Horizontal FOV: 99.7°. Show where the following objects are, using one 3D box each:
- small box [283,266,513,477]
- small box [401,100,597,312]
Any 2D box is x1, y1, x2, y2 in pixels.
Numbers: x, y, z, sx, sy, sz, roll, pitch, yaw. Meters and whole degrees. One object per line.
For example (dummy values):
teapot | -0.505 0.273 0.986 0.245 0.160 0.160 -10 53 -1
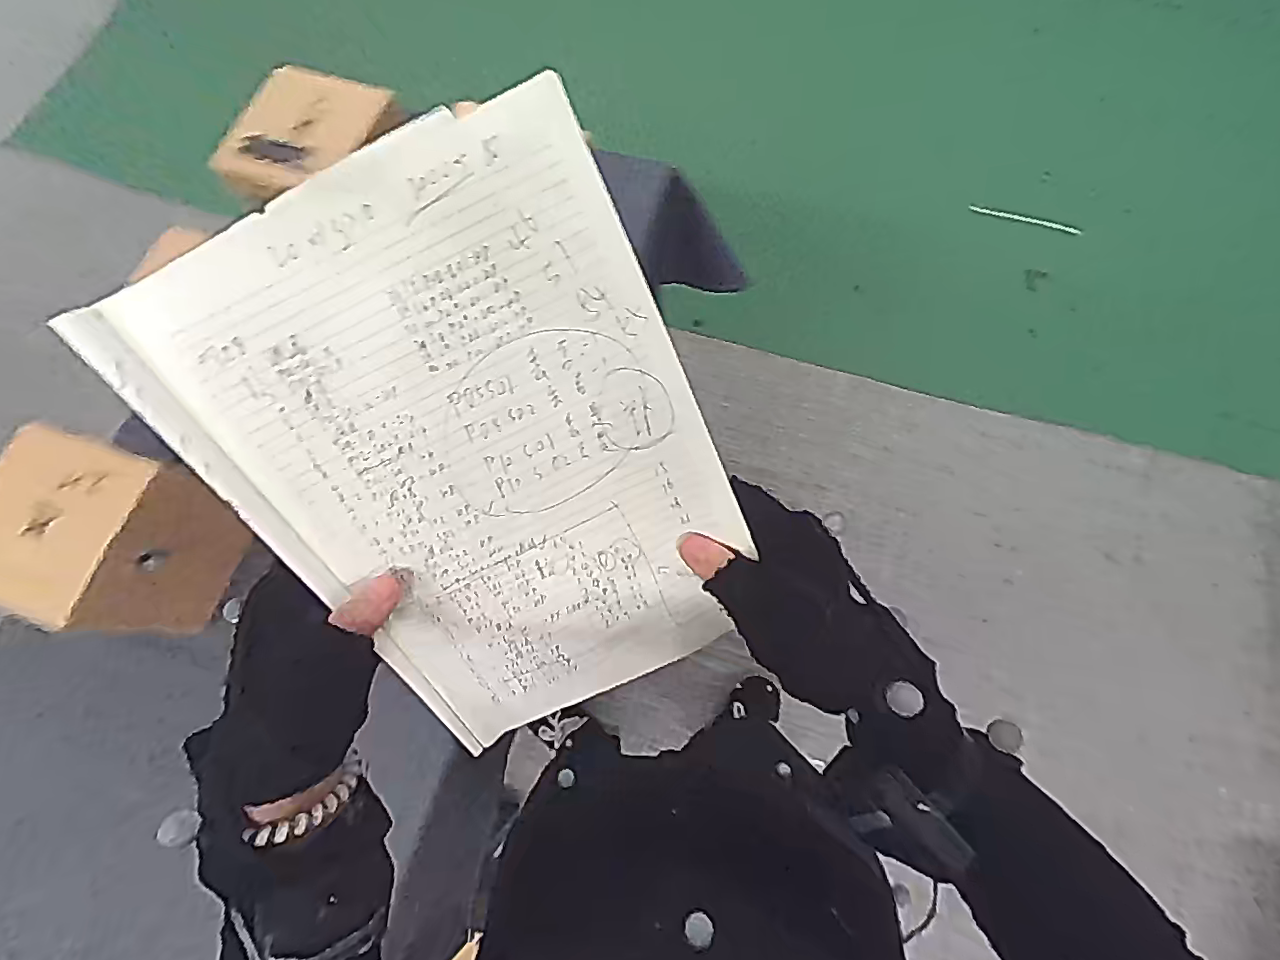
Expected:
small box | -0.268 -0.118 0.649 0.168 0.176 0.179 13 73 6
small box | -0.171 -0.351 0.719 0.179 0.176 0.168 19 75 7
